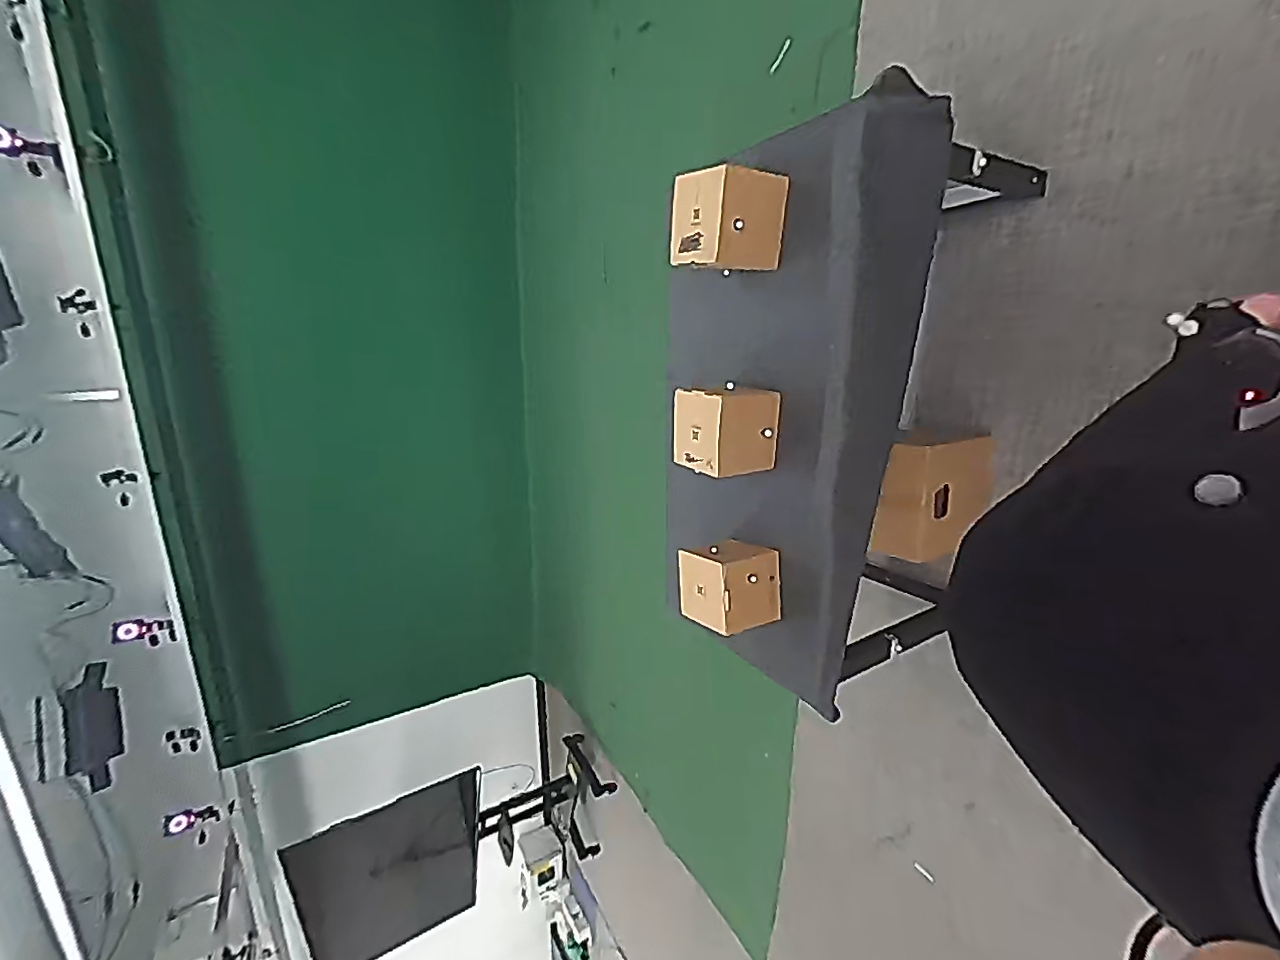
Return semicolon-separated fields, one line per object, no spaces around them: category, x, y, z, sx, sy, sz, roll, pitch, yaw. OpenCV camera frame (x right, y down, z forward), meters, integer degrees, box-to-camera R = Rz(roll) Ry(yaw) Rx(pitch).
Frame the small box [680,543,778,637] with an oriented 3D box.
small box;0.215;0.253;1.292;0.179;0.176;0.168;7;102;61

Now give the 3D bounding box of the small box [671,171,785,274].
small box;0.183;-0.533;1.141;0.168;0.176;0.179;31;123;53

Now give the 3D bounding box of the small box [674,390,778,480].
small box;0.195;-0.111;1.232;0.168;0.176;0.179;25;118;55
